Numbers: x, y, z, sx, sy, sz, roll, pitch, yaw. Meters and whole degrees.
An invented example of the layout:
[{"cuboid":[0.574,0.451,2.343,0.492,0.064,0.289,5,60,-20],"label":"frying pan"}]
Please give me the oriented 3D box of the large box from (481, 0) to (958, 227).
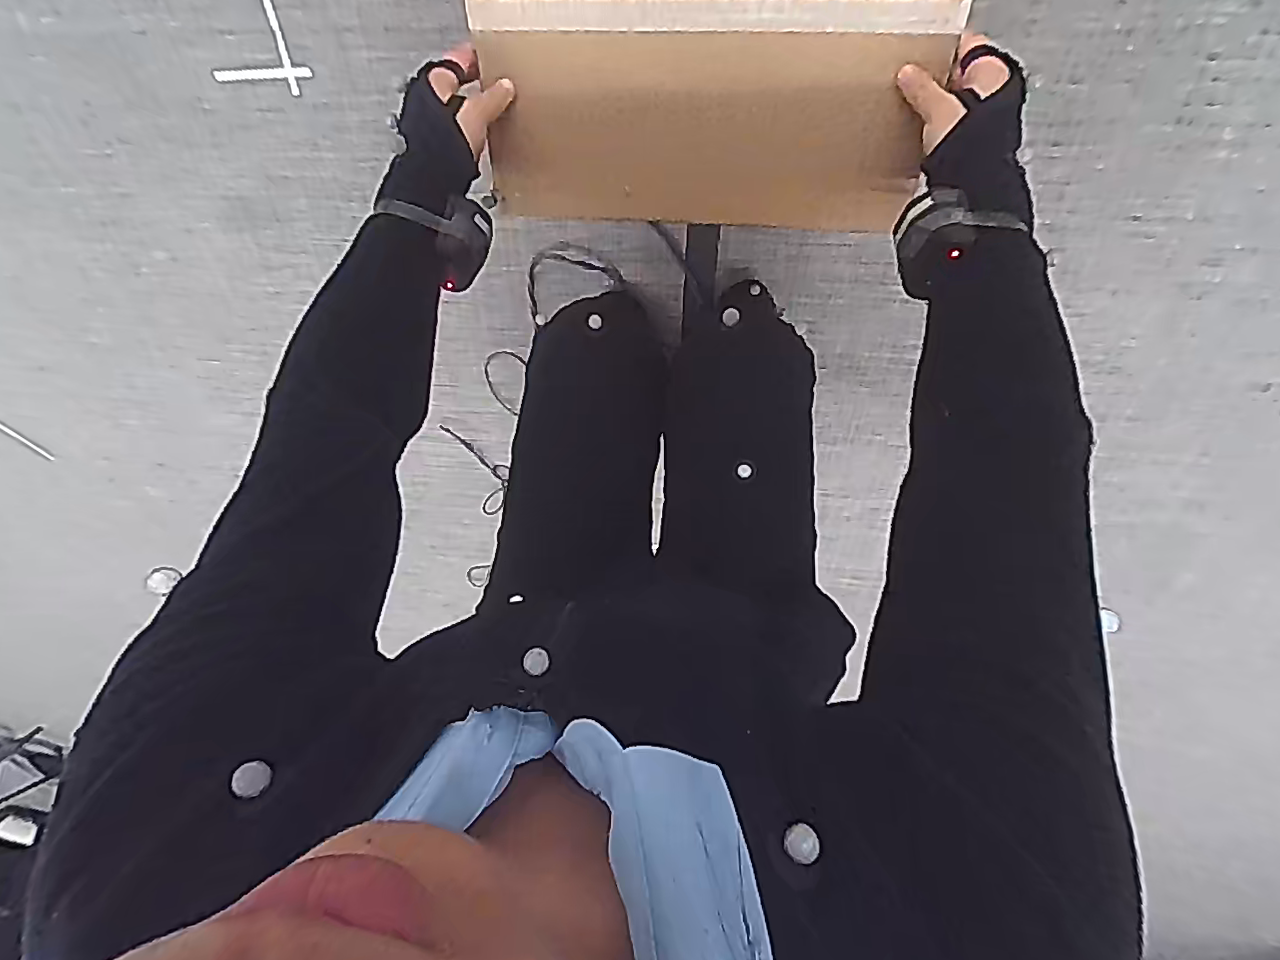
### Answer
[{"cuboid":[0.081,-0.472,0.576,0.408,0.320,0.320,6,125,7],"label":"large box"}]
